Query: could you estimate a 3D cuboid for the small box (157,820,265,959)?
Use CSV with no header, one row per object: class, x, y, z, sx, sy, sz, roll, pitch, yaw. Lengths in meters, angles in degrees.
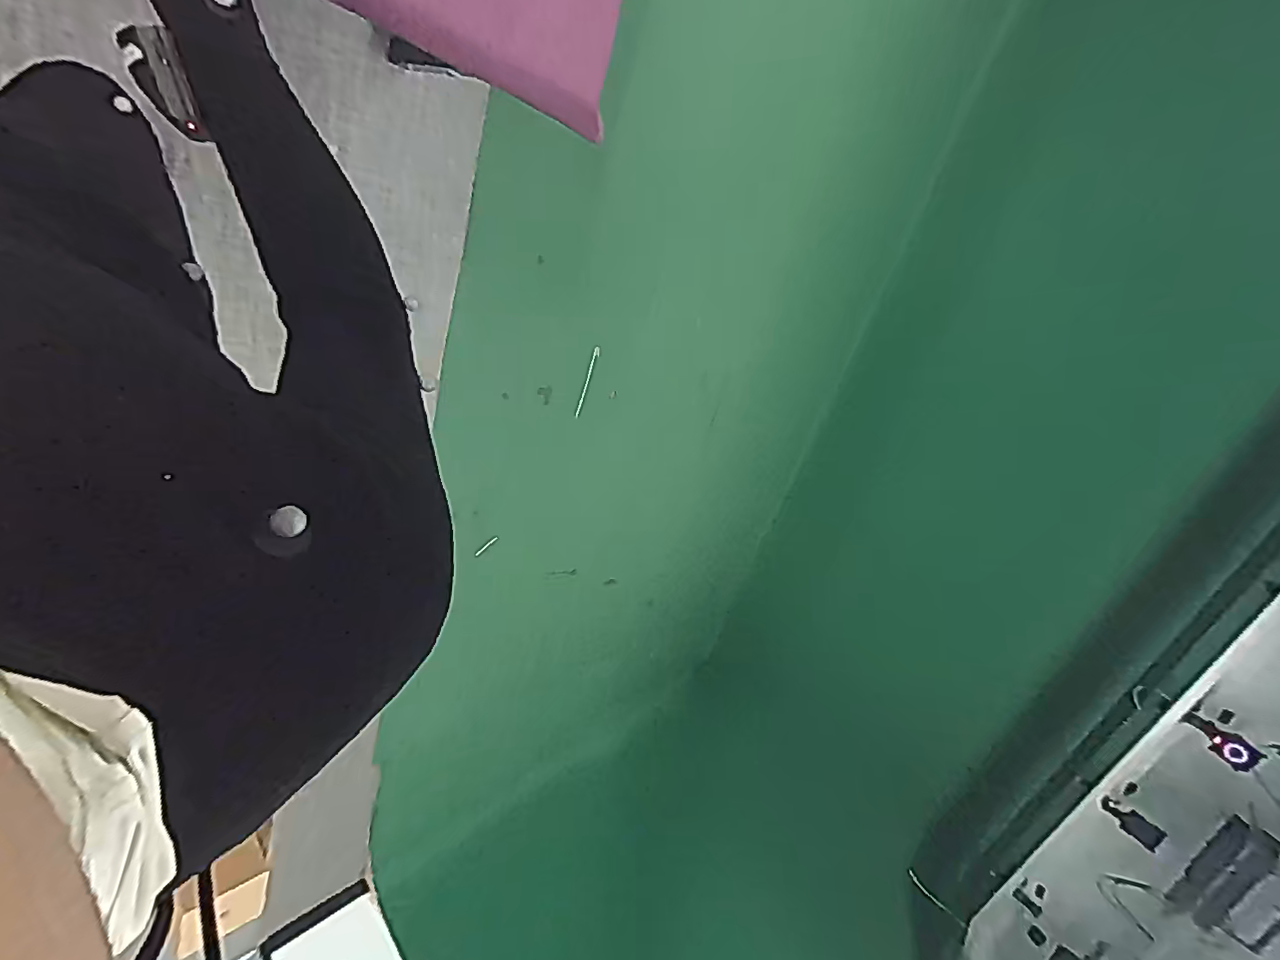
small box,-1.022,0.963,1.285,0.168,0.176,0.179,-4,122,-51
